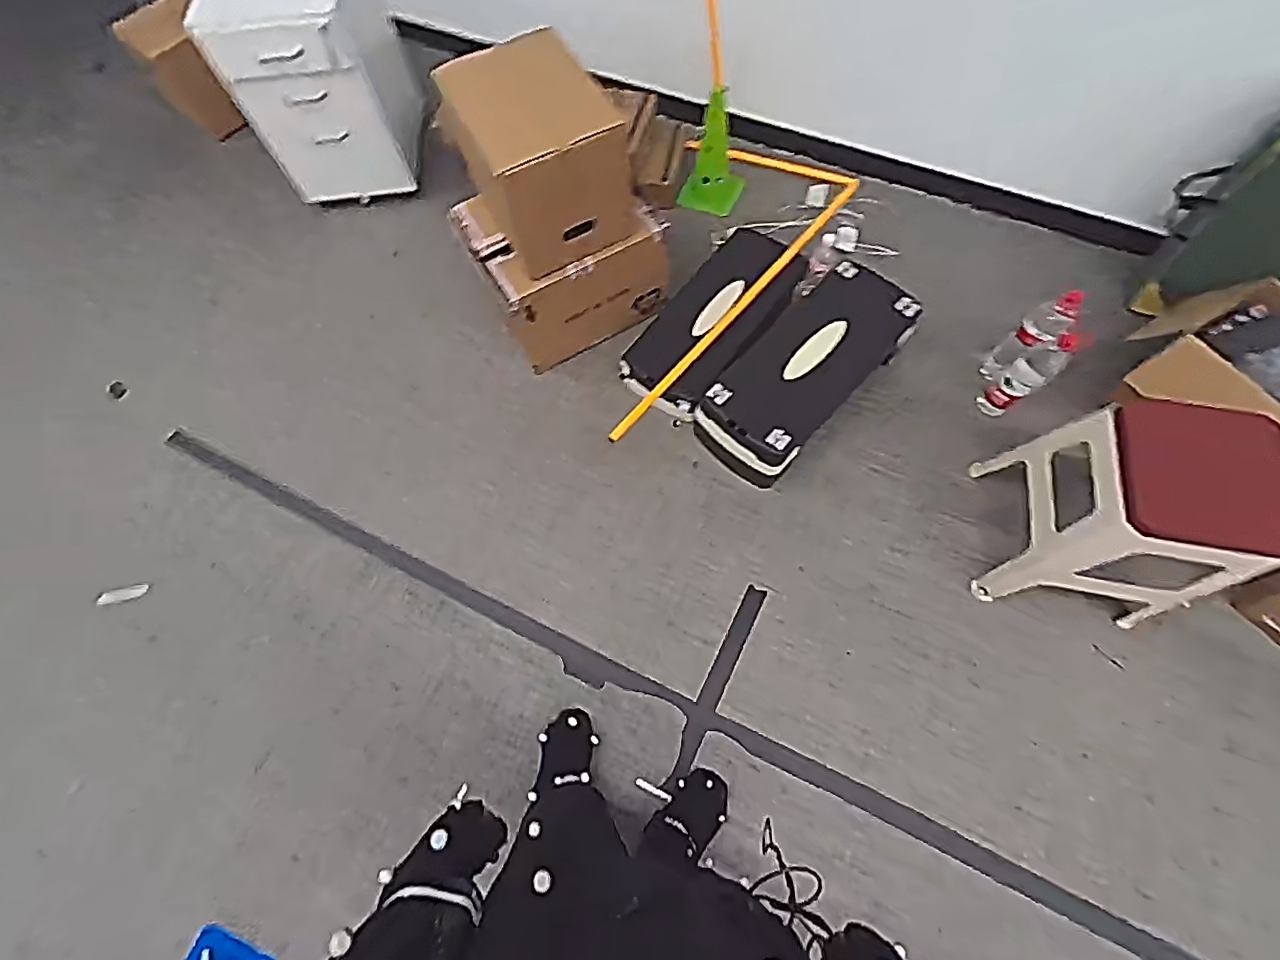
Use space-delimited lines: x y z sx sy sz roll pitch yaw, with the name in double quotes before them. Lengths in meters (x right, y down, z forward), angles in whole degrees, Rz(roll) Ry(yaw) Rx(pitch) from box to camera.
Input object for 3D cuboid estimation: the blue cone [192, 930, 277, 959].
"blue cone" -0.867 0.998 0.960 0.192 0.380 0.193 20 69 10
